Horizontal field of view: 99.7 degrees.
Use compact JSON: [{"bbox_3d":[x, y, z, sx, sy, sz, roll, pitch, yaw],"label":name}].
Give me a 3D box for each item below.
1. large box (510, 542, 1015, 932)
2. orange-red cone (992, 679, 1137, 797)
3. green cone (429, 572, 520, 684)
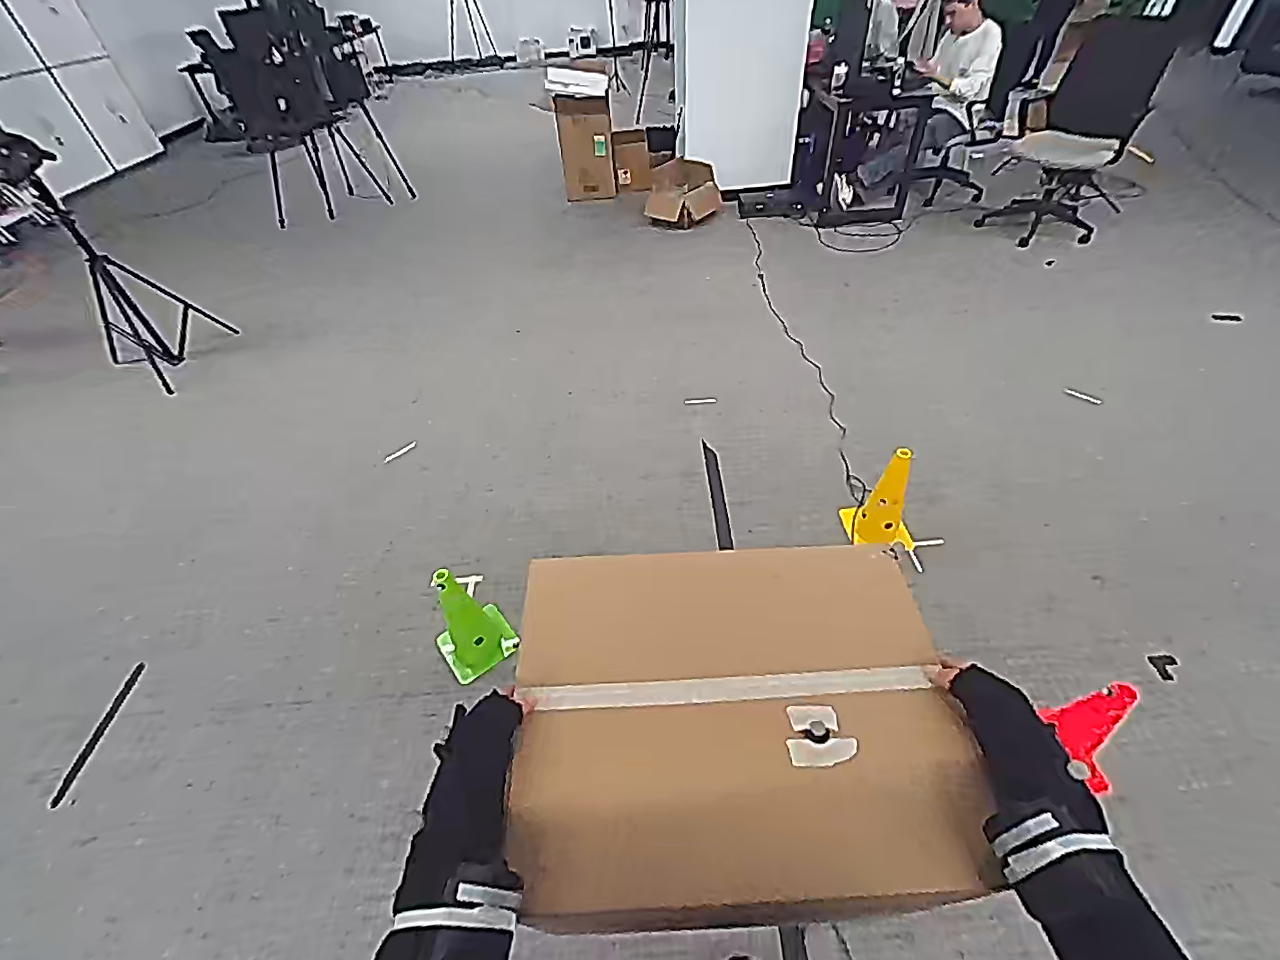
[{"bbox_3d":[0.089,0.295,0.622,0.408,0.320,0.320,-3,48,-2],"label":"large box"},{"bbox_3d":[0.988,0.542,1.209,0.198,0.360,0.199,-6,43,-1],"label":"orange-red cone"},{"bbox_3d":[-0.507,0.374,1.524,0.202,0.368,0.200,-34,50,-24],"label":"green cone"}]
